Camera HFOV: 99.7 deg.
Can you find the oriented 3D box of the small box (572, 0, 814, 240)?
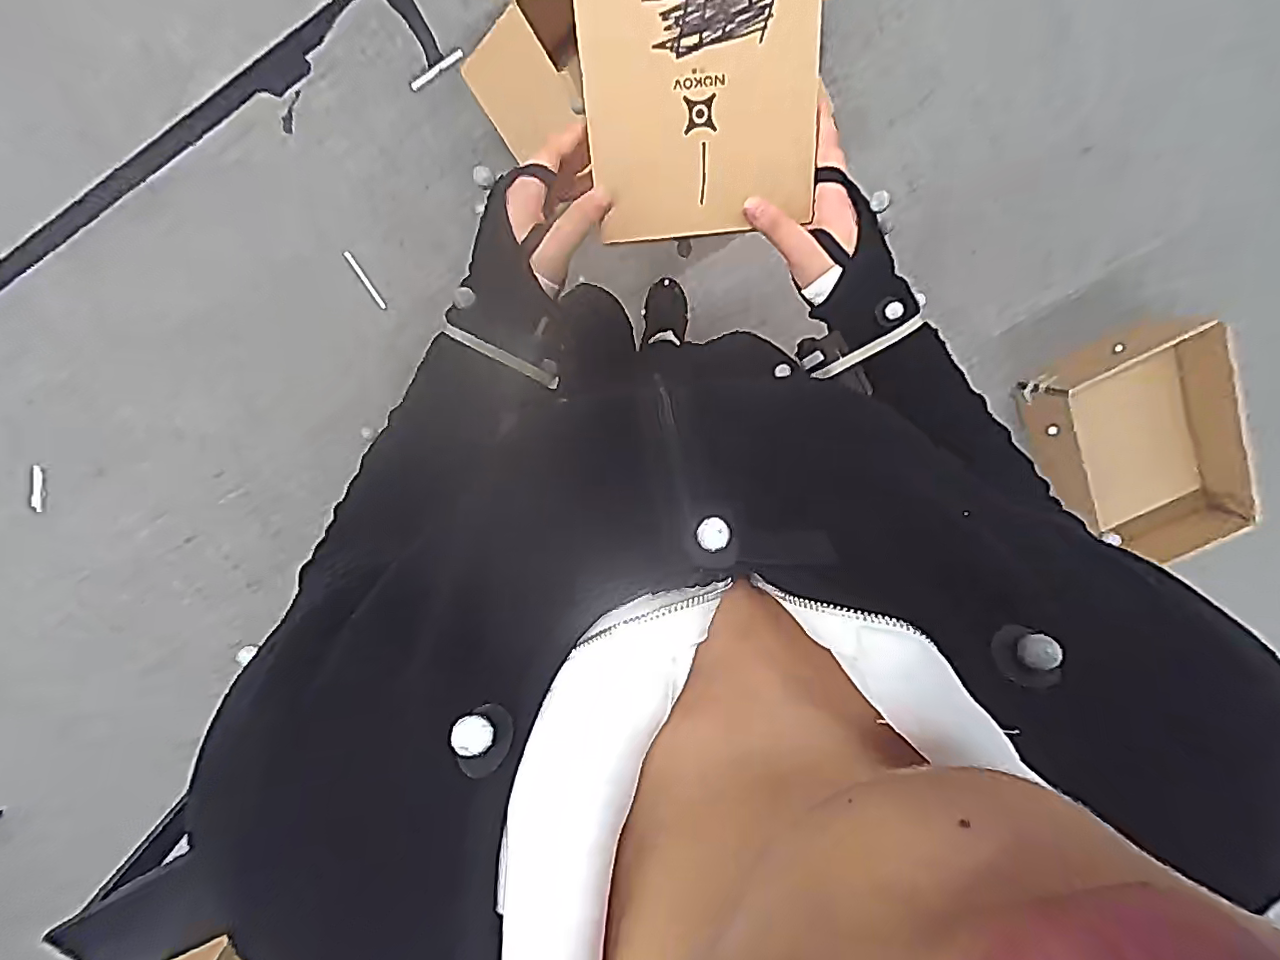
[{"bbox_3d":[0.036,-0.305,0.453,0.168,0.176,0.179,-5,113,1],"label":"small box"}]

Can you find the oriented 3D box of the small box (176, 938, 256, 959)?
[{"bbox_3d":[-0.785,0.959,0.940,0.179,0.176,0.168,-28,108,6],"label":"small box"}]
